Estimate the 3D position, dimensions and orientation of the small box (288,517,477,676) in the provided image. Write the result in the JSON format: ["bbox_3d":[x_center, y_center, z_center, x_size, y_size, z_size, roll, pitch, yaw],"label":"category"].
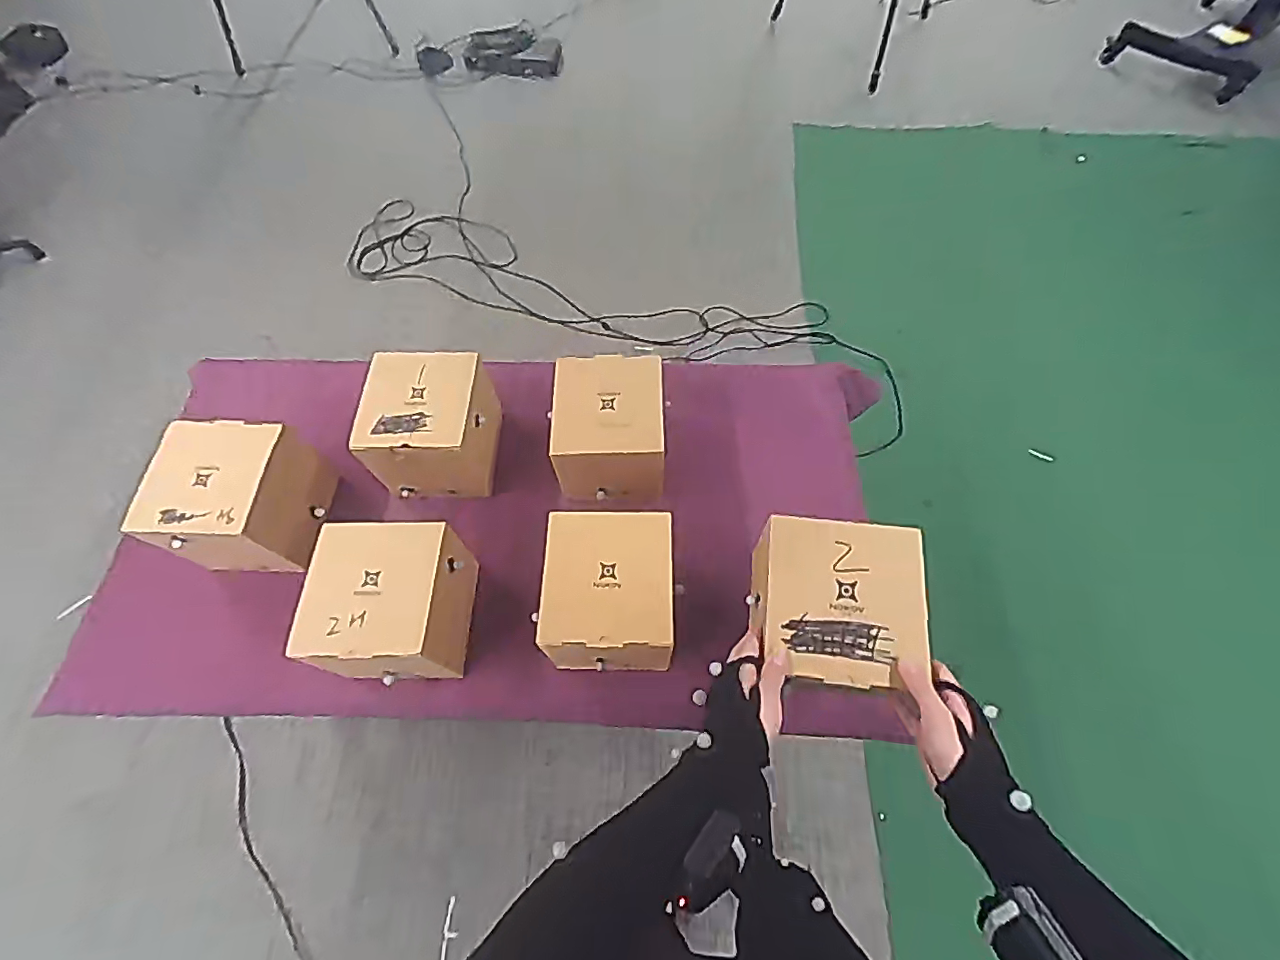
[{"bbox_3d":[-0.335,0.165,0.748,0.168,0.176,0.179,0,62,1],"label":"small box"}]

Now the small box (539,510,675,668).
[{"bbox_3d":[-0.039,0.157,0.753,0.168,0.176,0.179,1,63,1],"label":"small box"}]

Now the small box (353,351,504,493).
[{"bbox_3d":[-0.327,-0.088,0.878,0.168,0.176,0.179,1,63,1],"label":"small box"}]

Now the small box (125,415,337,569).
[{"bbox_3d":[-0.596,0.022,0.821,0.168,0.176,0.179,2,63,3],"label":"small box"}]

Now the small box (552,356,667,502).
[{"bbox_3d":[-0.042,-0.079,0.873,0.168,0.176,0.179,0,64,1],"label":"small box"}]
